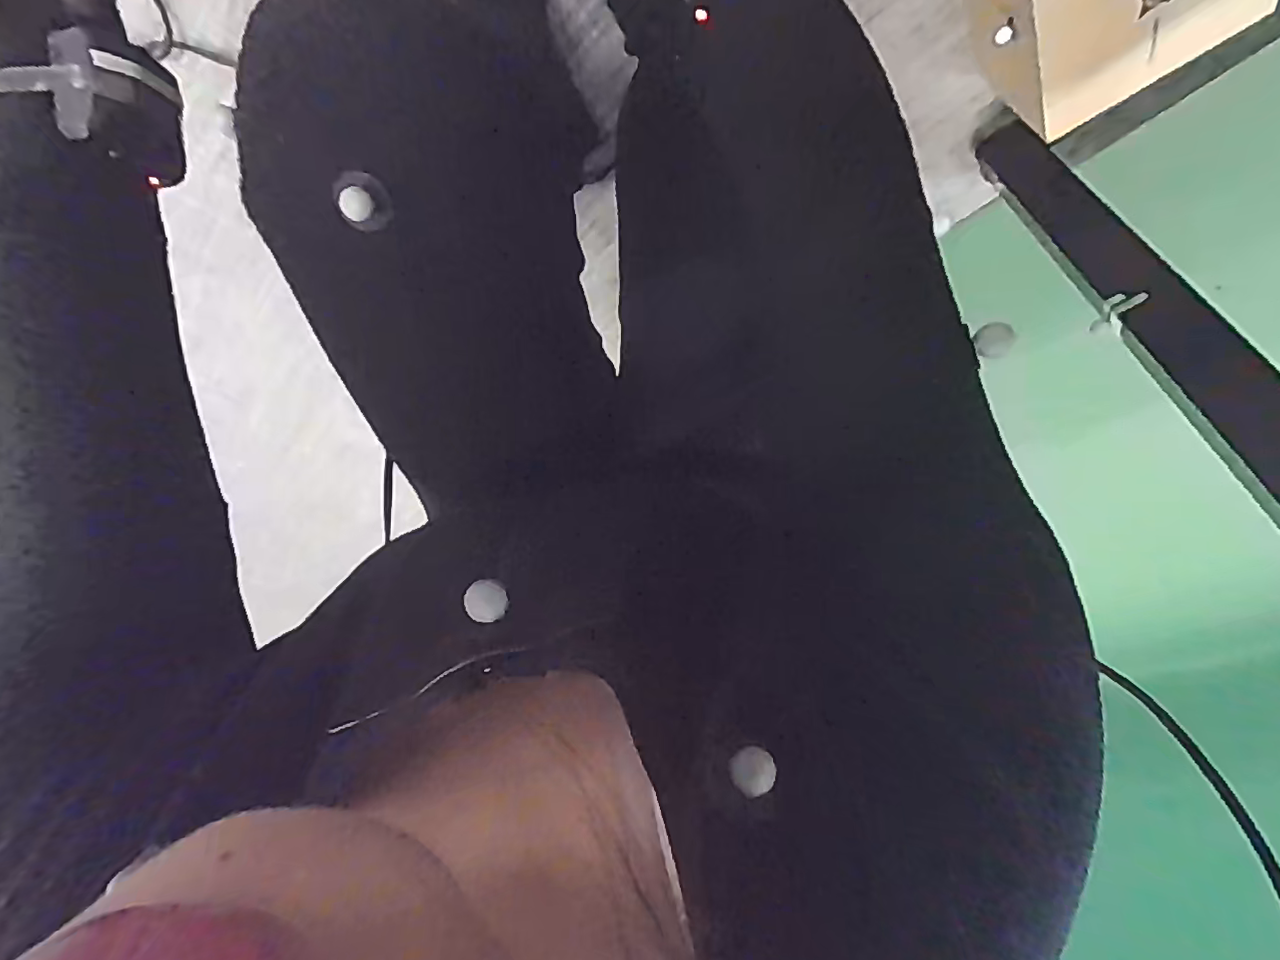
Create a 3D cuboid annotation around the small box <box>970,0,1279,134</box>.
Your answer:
[{"bbox_3d":[0.400,-0.457,0.463,0.168,0.176,0.179,-23,140,27],"label":"small box"}]
